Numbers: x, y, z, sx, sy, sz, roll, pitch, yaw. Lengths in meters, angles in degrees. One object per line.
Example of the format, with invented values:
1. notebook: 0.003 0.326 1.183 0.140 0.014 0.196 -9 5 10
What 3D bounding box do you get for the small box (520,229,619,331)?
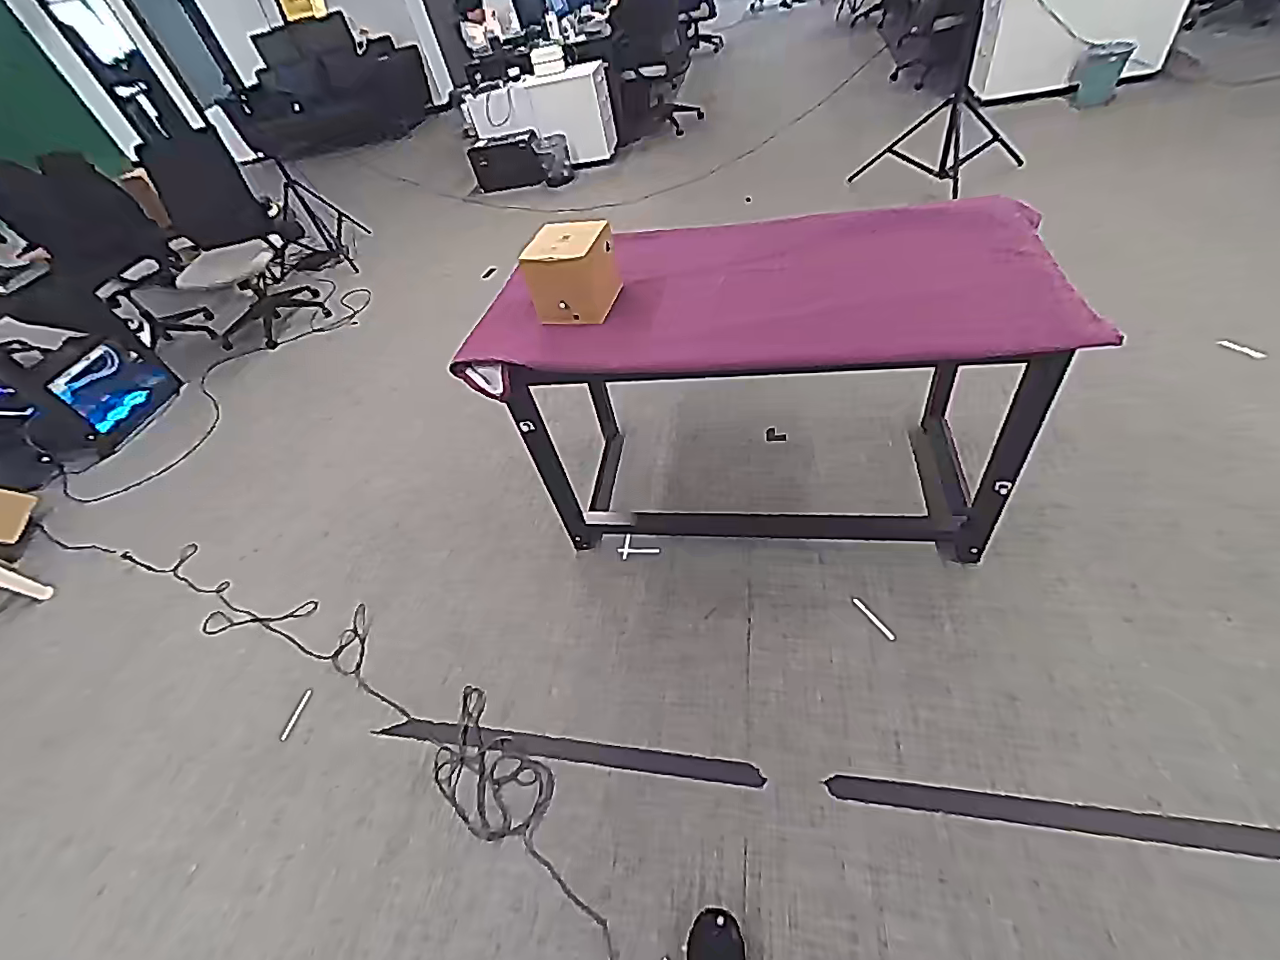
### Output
1. small box: -0.160 -0.481 1.301 0.168 0.176 0.179 5 50 19
